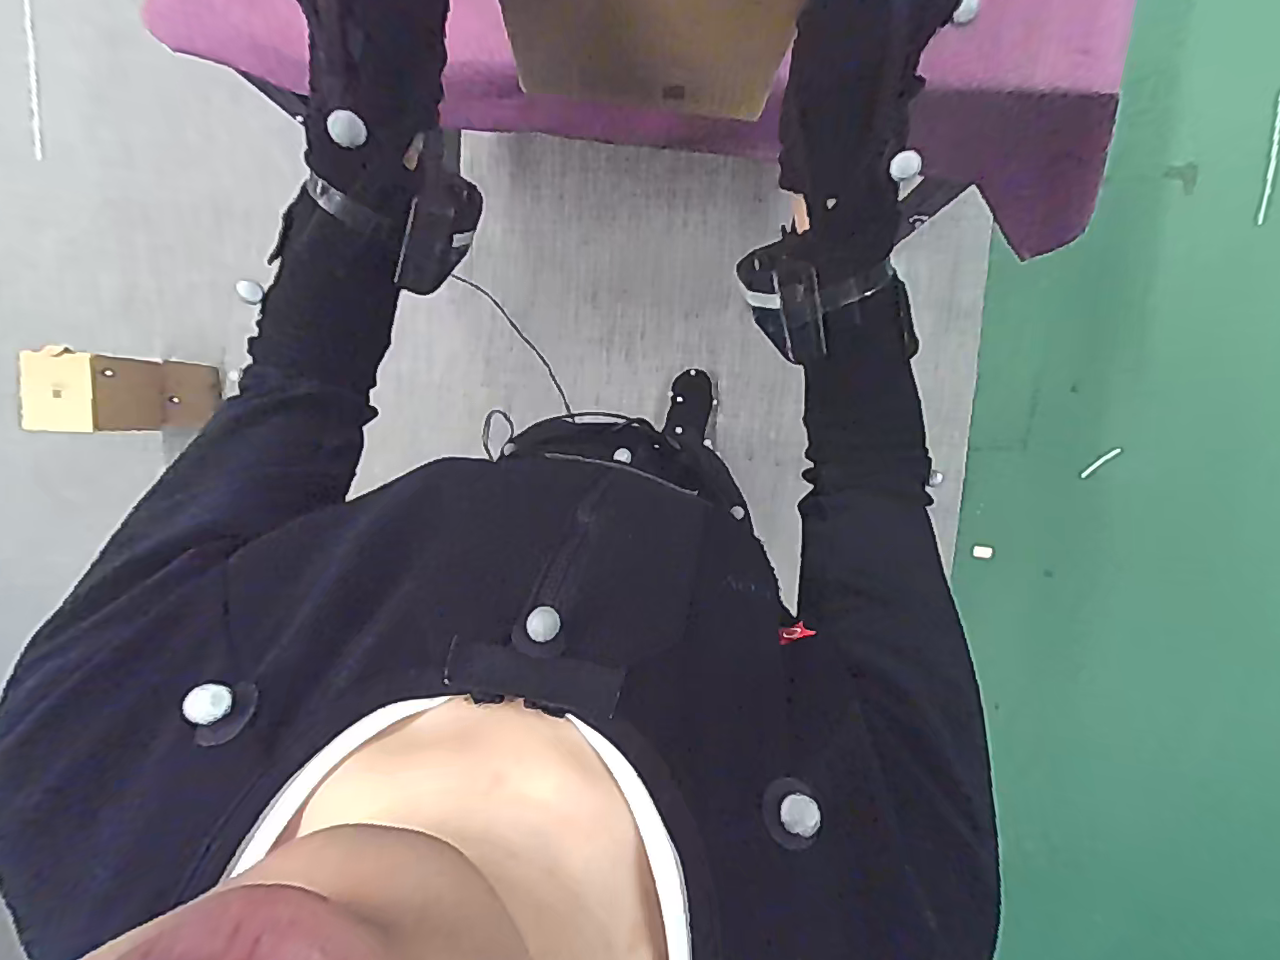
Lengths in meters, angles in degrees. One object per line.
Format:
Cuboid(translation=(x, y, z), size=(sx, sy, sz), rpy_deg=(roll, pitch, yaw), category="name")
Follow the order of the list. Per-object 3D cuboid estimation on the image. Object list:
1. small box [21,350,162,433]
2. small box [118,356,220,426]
Cuboid(translation=(-1.269, -0.203, 1.264), size=(0.168, 0.176, 0.179), rpy_deg=(2, 95, 2), category="small box")
Cuboid(translation=(-1.259, -0.230, 1.425), size=(0.179, 0.176, 0.168), rpy_deg=(2, 96, 3), category="small box")
